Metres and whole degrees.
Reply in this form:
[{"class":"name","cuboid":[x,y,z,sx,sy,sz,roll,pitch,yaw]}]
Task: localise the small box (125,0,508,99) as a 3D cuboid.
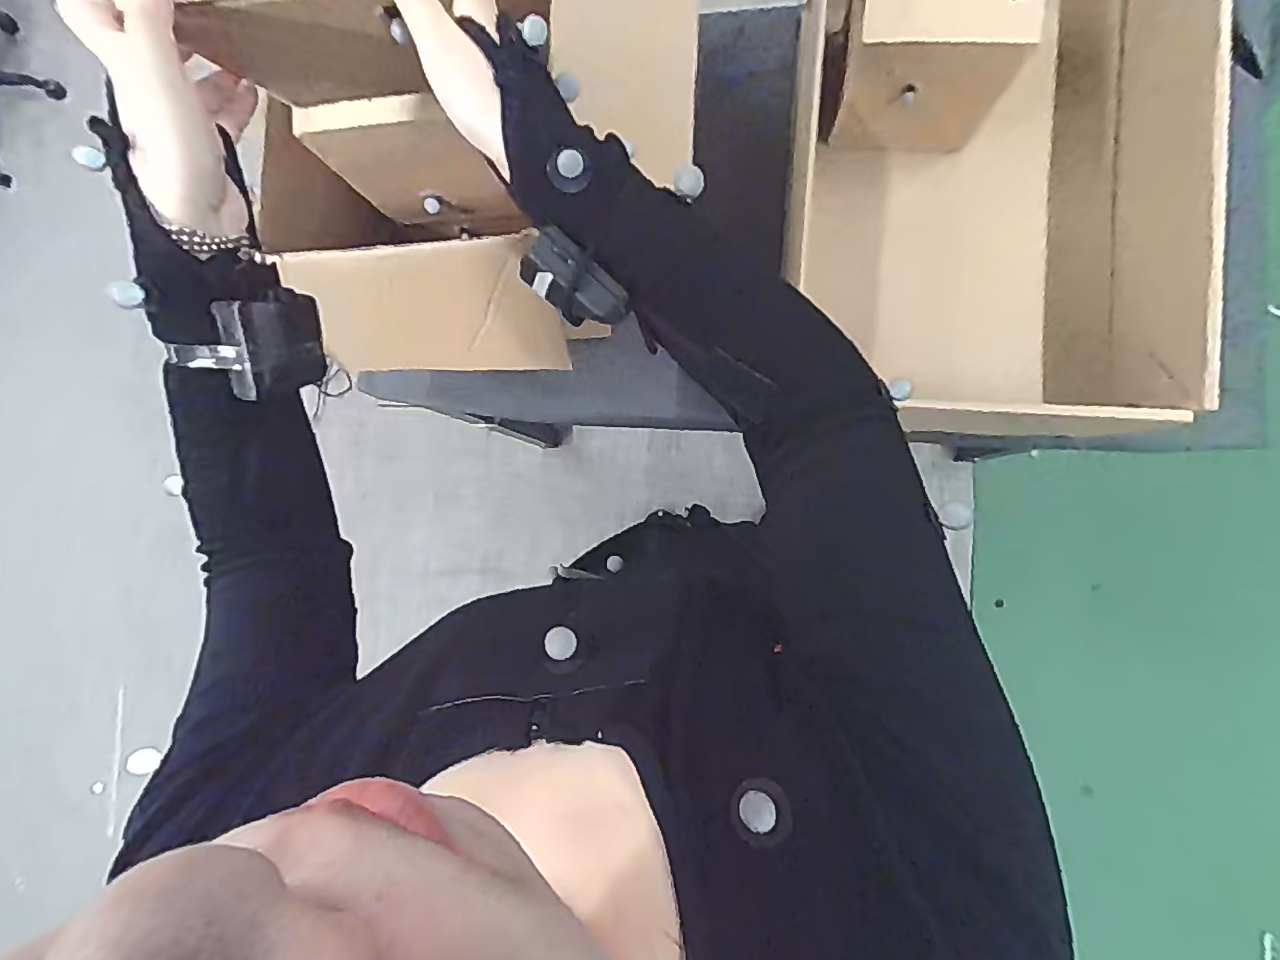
[{"class":"small box","cuboid":[-0.192,-0.354,0.325,0.179,0.176,0.168,-8,112,-2]}]
